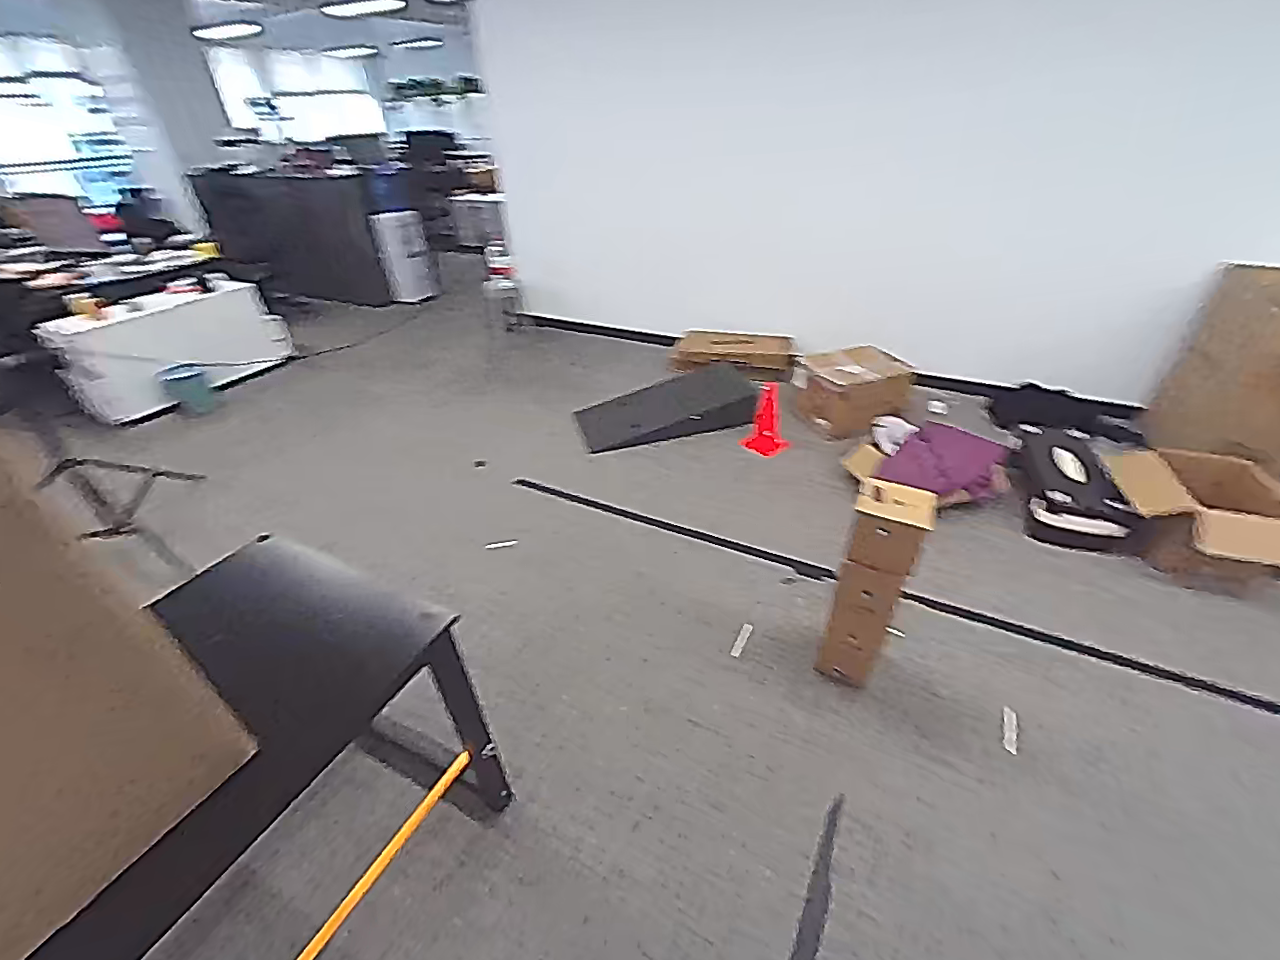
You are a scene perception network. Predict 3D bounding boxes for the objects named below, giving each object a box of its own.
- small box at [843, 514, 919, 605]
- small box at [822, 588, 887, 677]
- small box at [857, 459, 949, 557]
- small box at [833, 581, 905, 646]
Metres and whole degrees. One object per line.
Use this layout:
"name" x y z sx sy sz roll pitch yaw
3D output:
"small box" 0.662 0.209 1.473 0.168 0.176 0.179 15 40 24
"small box" 0.673 0.470 1.673 0.168 0.176 0.179 14 40 24
"small box" 0.667 0.071 1.382 0.179 0.176 0.168 15 39 23
"small box" 0.670 0.342 1.569 0.168 0.176 0.179 14 39 24
